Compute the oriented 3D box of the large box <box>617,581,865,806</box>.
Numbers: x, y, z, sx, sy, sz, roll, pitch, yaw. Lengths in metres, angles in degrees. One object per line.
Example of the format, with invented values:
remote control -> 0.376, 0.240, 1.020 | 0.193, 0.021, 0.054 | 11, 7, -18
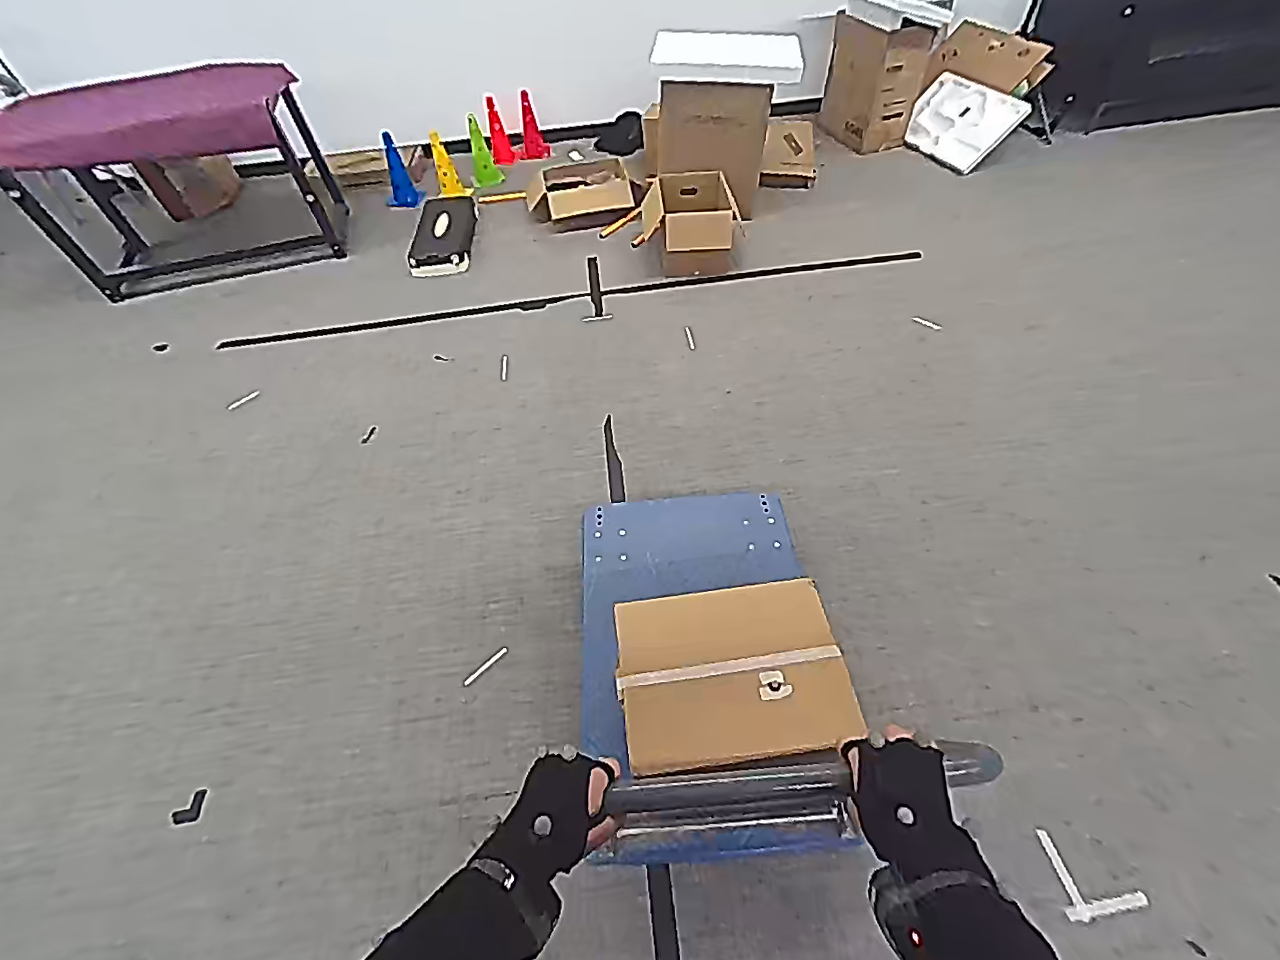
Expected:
large box -> 0.174, 0.443, 1.116 | 0.408, 0.320, 0.320 | -7, 52, -3
